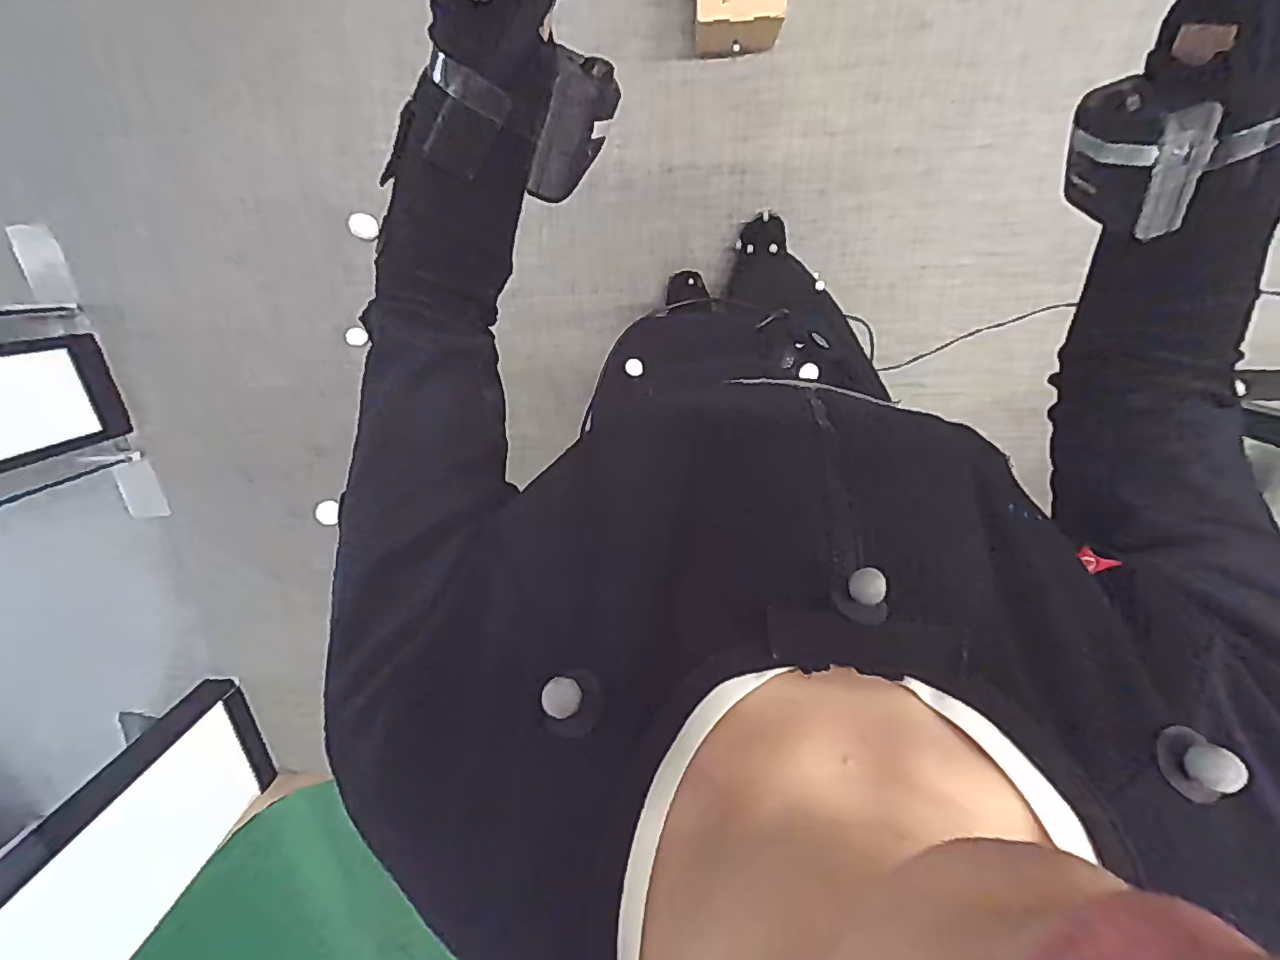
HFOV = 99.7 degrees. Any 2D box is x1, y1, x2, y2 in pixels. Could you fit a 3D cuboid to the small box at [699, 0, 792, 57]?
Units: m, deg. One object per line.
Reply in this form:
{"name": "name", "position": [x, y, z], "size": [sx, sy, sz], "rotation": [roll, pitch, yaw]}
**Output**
{"name": "small box", "position": [0.199, -0.954, 1.039], "size": [0.168, 0.176, 0.179], "rotation": [0, 111, 6]}
